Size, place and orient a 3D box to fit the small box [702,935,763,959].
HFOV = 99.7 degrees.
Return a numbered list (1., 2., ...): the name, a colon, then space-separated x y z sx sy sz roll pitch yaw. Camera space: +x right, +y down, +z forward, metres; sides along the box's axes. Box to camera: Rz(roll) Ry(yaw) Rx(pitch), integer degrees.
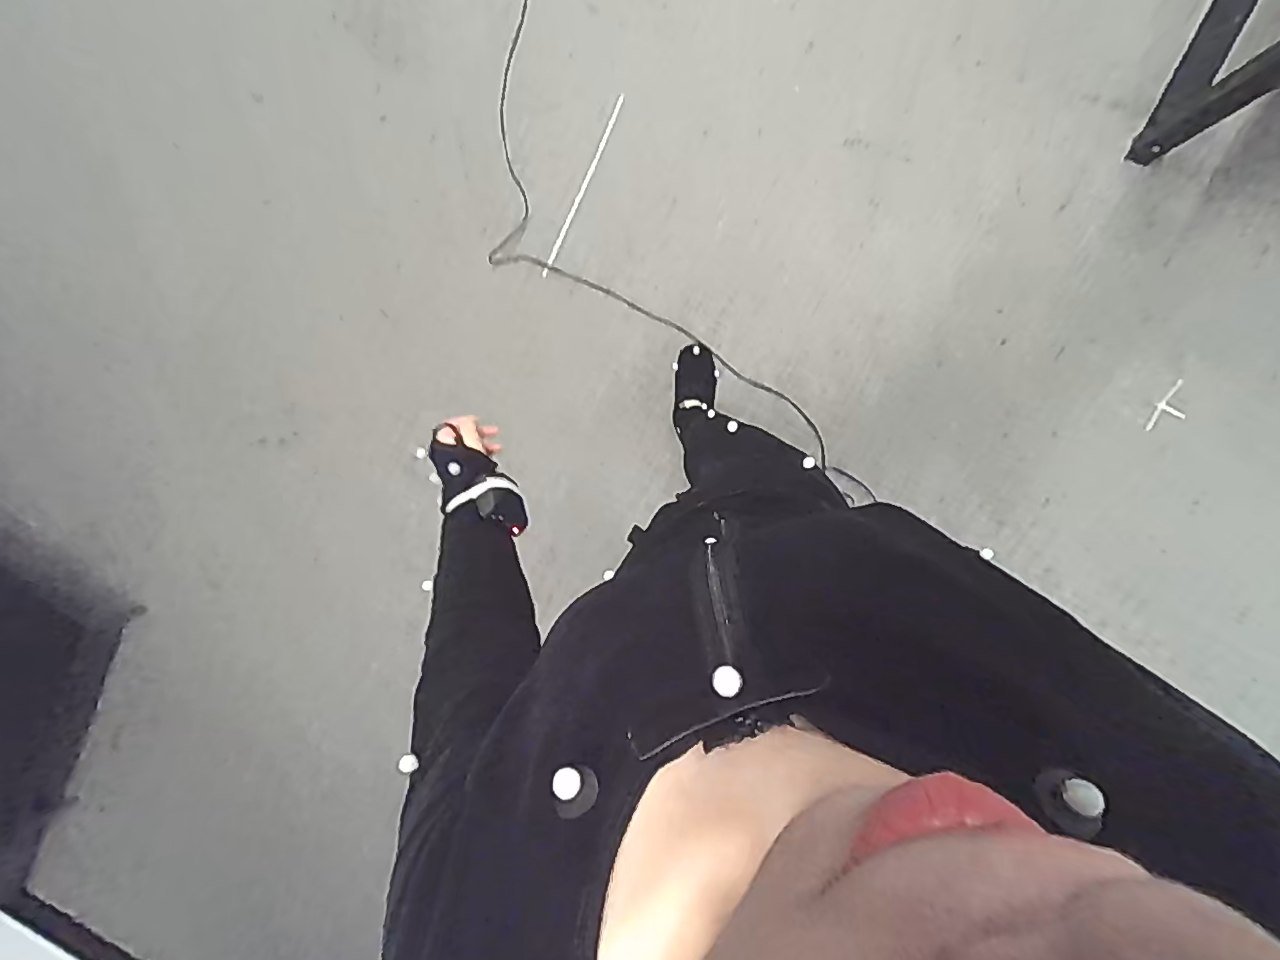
1. small box: 0.162 0.921 0.893 0.168 0.176 0.179 42 100 -1
